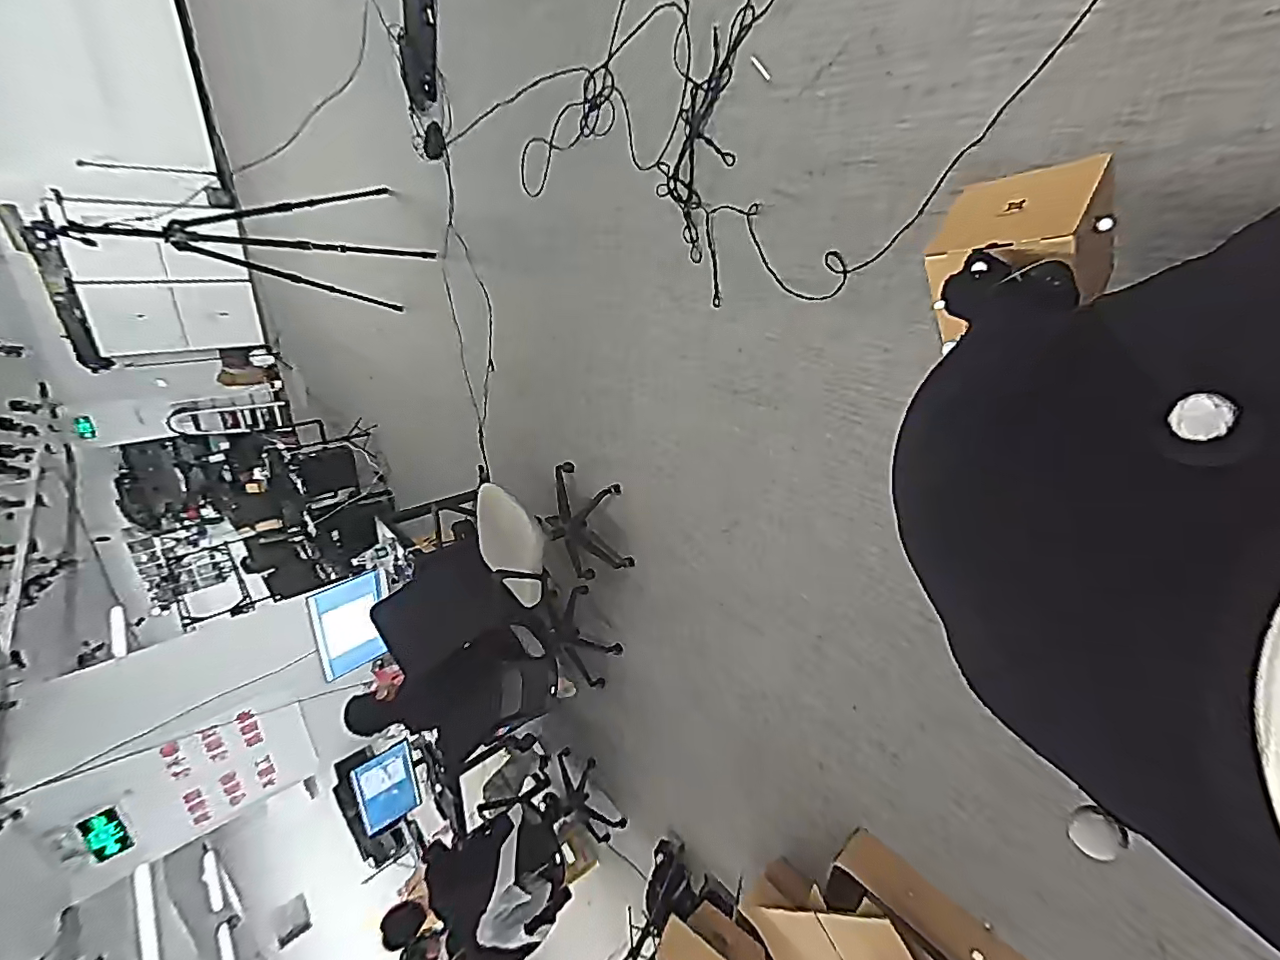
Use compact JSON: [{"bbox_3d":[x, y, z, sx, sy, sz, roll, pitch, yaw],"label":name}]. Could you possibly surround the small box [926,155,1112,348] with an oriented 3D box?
[{"bbox_3d":[0.529,-0.304,0.752,0.168,0.179,0.176,12,149,48],"label":"small box"}]
